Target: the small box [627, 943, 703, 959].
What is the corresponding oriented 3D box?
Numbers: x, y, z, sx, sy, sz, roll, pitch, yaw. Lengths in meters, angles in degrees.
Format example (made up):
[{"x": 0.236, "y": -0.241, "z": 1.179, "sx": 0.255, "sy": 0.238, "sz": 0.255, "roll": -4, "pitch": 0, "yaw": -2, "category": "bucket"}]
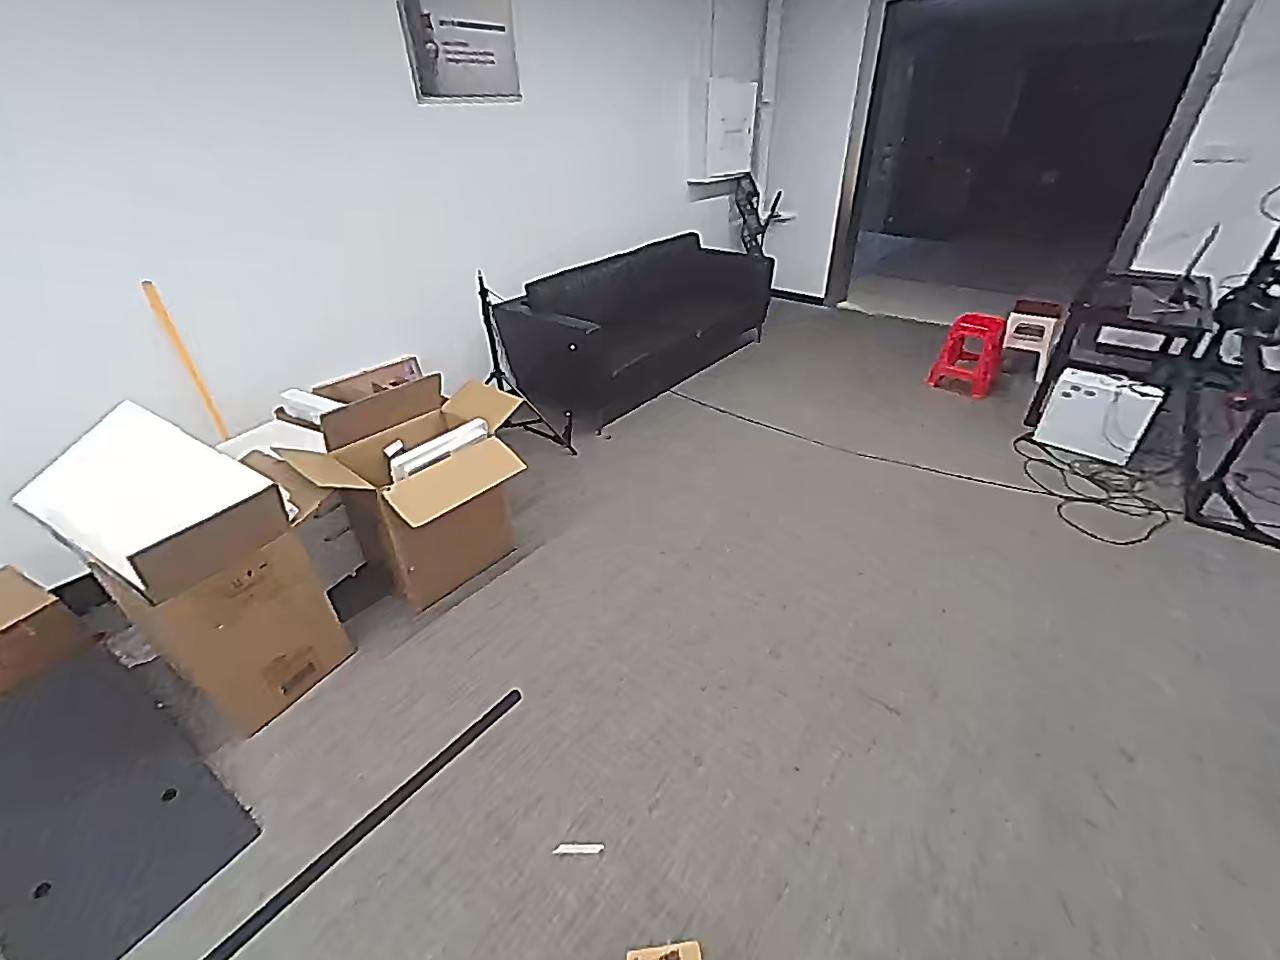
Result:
[{"x": 0.062, "y": 1.142, "z": 1.163, "sx": 0.168, "sy": 0.176, "sz": 0.179, "roll": -4, "pitch": 35, "yaw": -5, "category": "small box"}]
